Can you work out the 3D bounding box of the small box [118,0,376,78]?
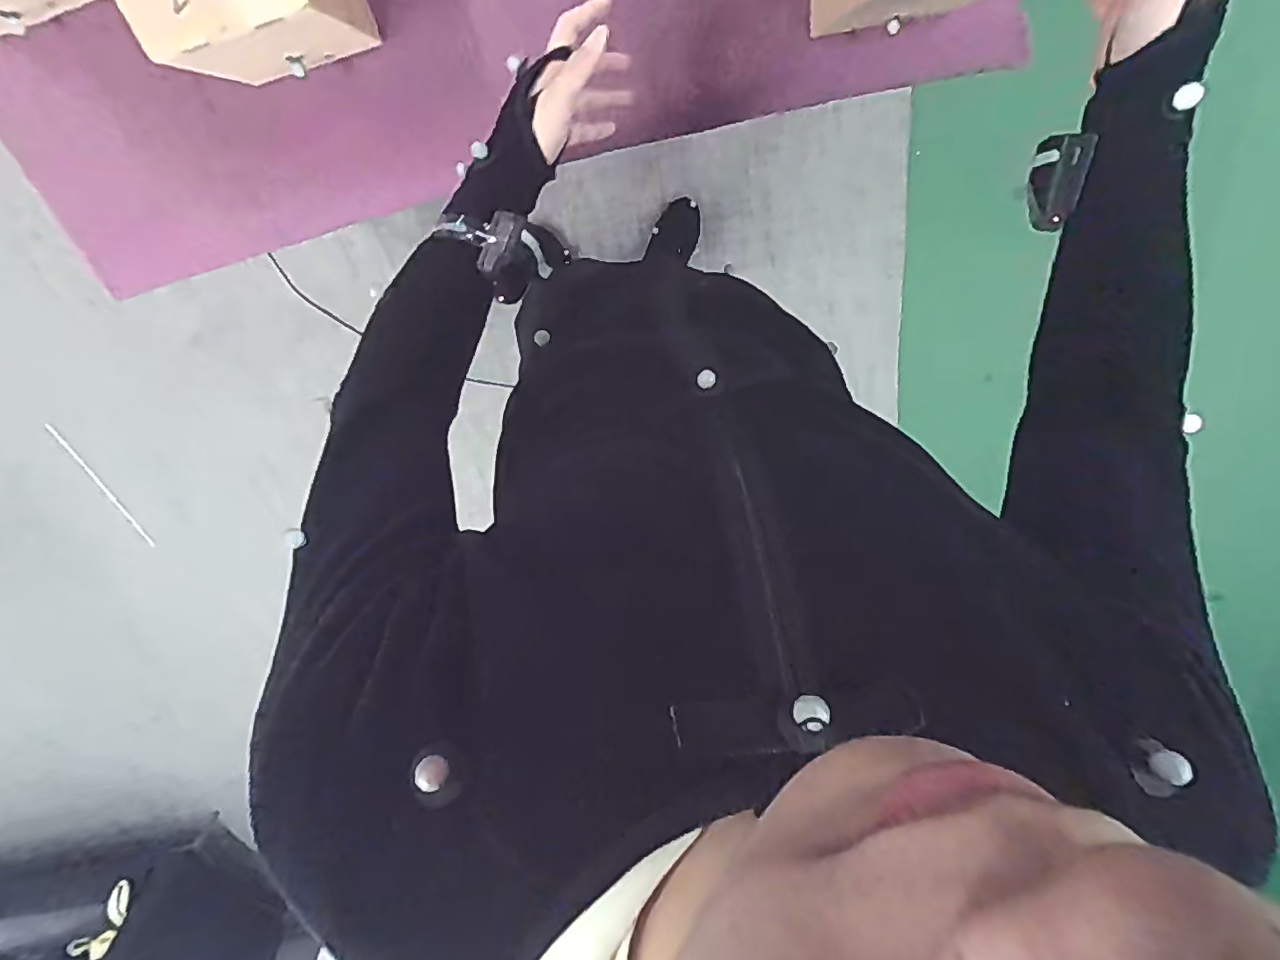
[{"bbox_3d":[-0.391,-0.517,0.514,0.168,0.176,0.179,-12,121,6],"label":"small box"}]
